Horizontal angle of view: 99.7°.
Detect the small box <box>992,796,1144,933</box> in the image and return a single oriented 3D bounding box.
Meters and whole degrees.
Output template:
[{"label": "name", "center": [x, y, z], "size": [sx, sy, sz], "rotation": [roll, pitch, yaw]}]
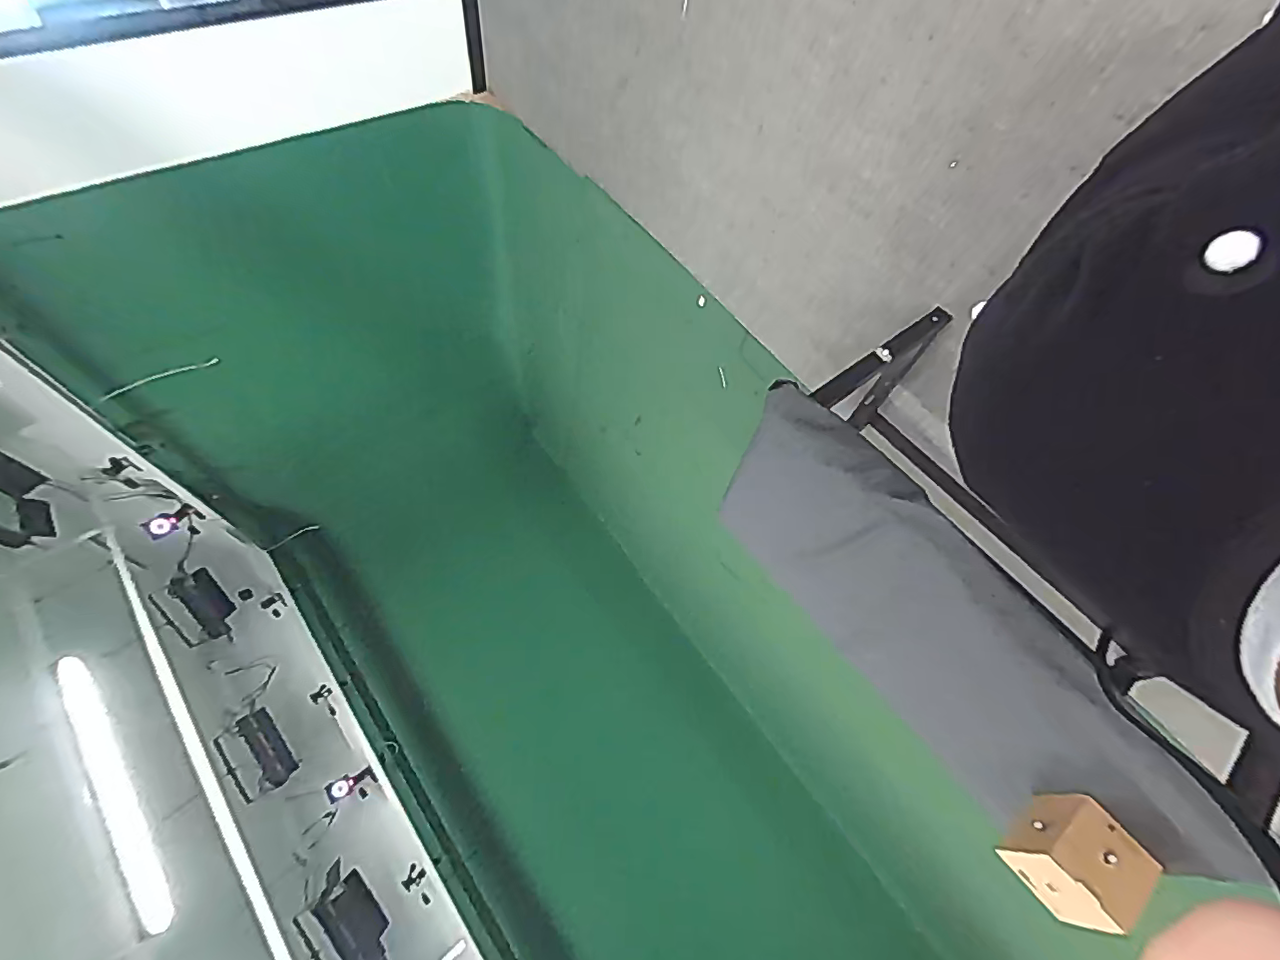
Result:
[{"label": "small box", "center": [0.911, 0.803, 1.149], "size": [0.168, 0.176, 0.179], "rotation": [48, 154, 21]}]
